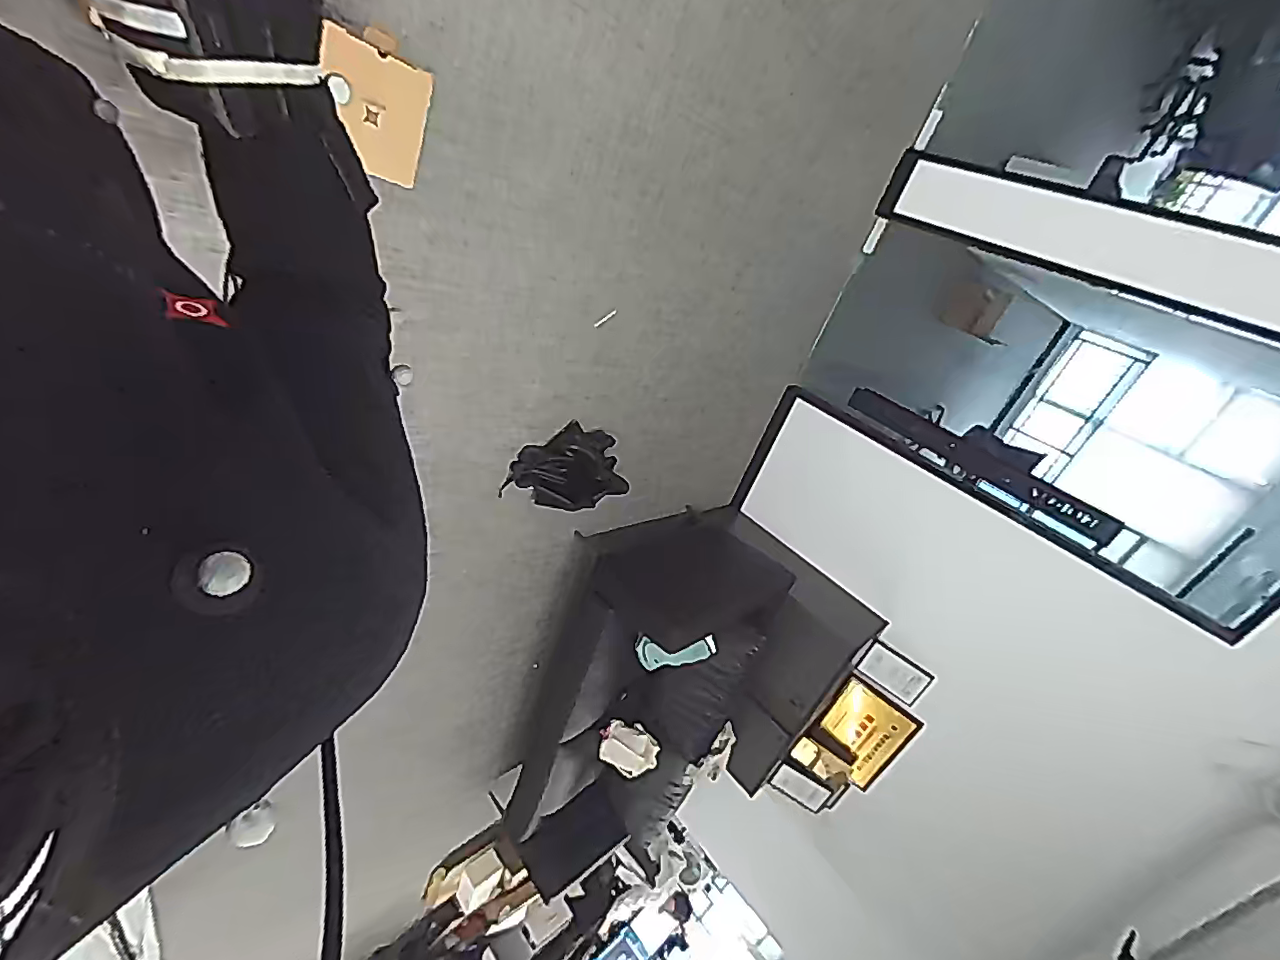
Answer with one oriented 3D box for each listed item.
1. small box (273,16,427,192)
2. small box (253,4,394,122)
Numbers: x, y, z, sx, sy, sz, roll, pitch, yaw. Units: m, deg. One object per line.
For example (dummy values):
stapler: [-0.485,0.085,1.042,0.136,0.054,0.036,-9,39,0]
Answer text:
small box: [-0.479,-0.609,0.884,0.168,0.176,0.179,-5,127,-49]
small box: [-0.573,-0.711,0.972,0.168,0.176,0.179,-6,126,-49]
